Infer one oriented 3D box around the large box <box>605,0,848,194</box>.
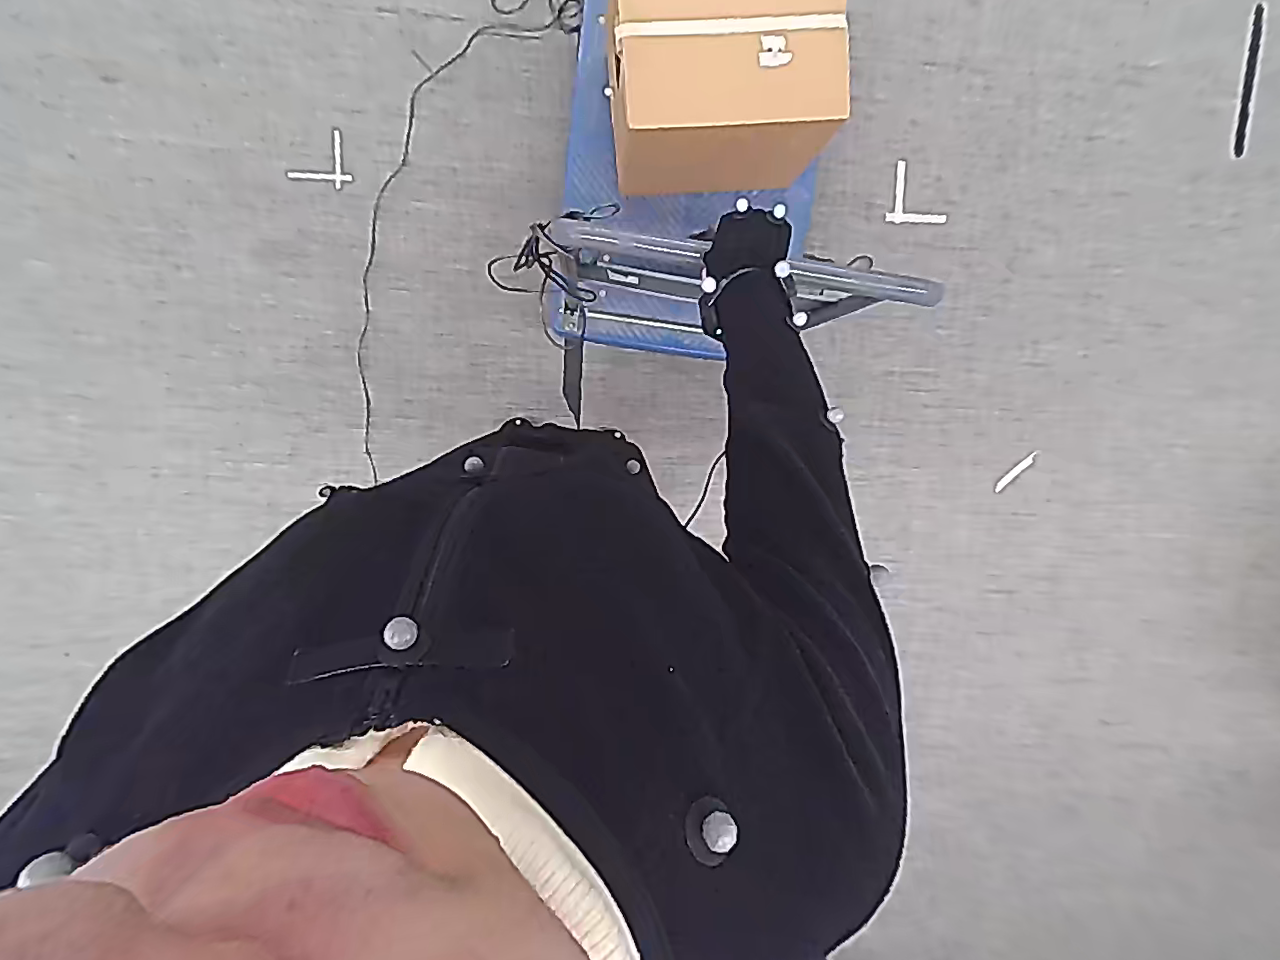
[{"bbox_3d":[0.149,-0.803,1.083,0.408,0.320,0.320,-5,98,-5],"label":"large box"}]
